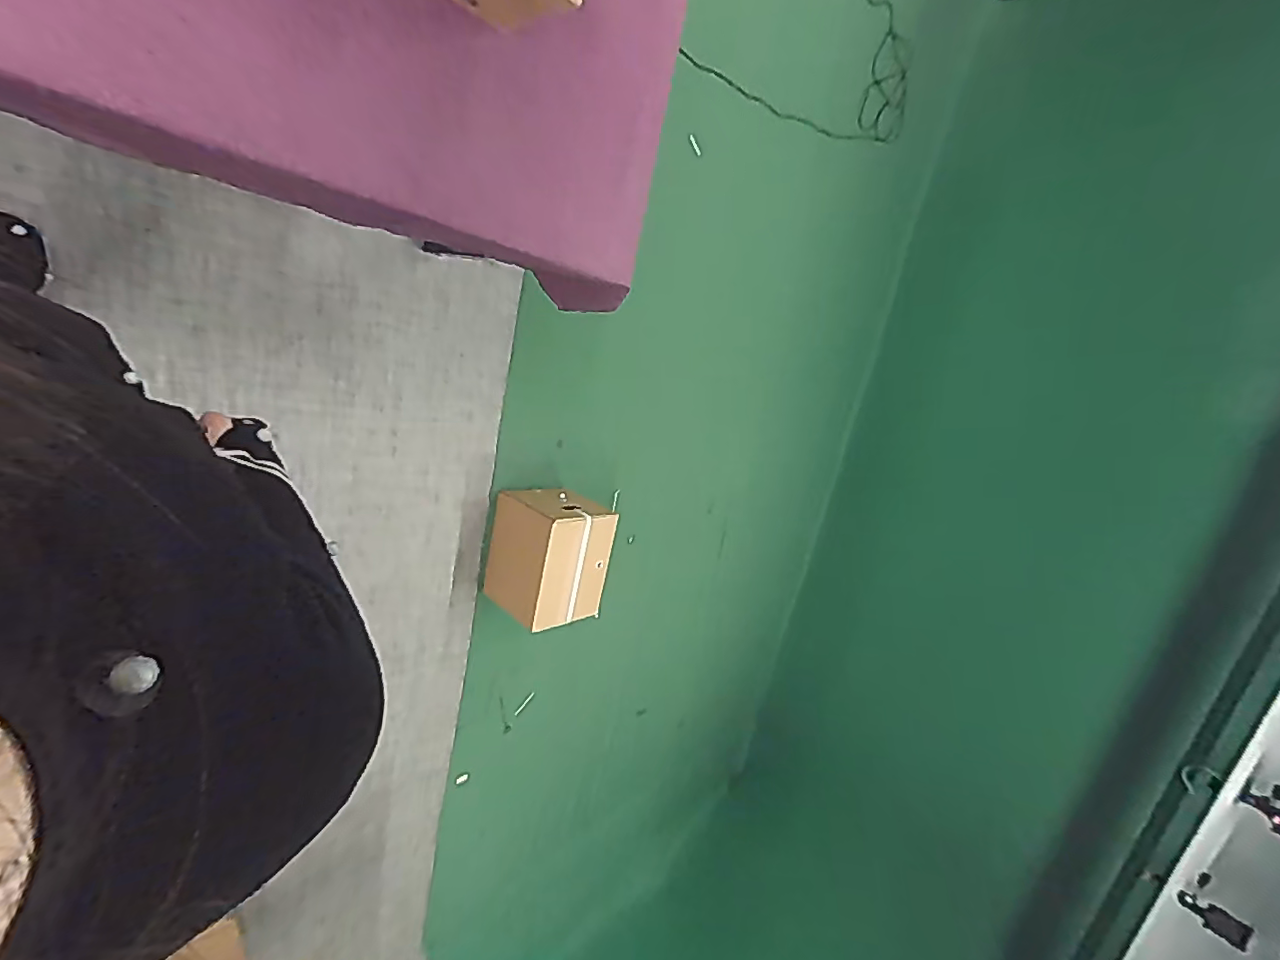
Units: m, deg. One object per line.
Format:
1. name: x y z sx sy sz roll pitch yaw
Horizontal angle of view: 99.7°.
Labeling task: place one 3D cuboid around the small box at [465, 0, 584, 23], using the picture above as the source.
1. small box: -0.159 -0.670 0.609 0.168 0.176 0.179 -5 113 -48
